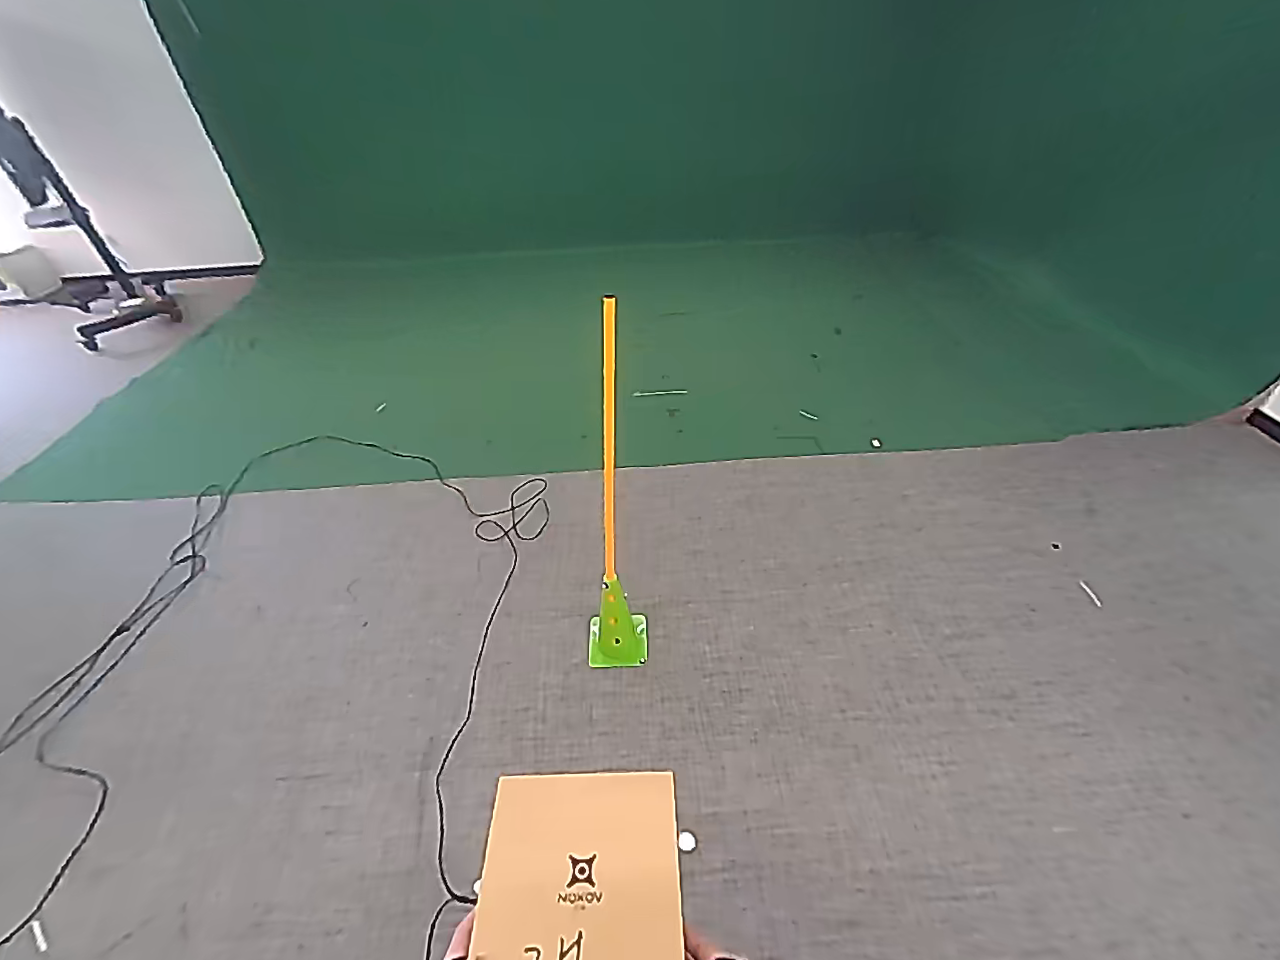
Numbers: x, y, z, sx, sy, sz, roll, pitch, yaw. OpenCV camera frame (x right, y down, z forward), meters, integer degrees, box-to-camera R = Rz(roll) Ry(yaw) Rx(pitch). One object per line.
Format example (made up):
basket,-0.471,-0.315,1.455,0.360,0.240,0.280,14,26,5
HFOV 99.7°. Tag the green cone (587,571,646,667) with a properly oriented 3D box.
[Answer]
green cone,-0.090,0.426,1.776,0.202,0.368,0.200,-3,40,1
